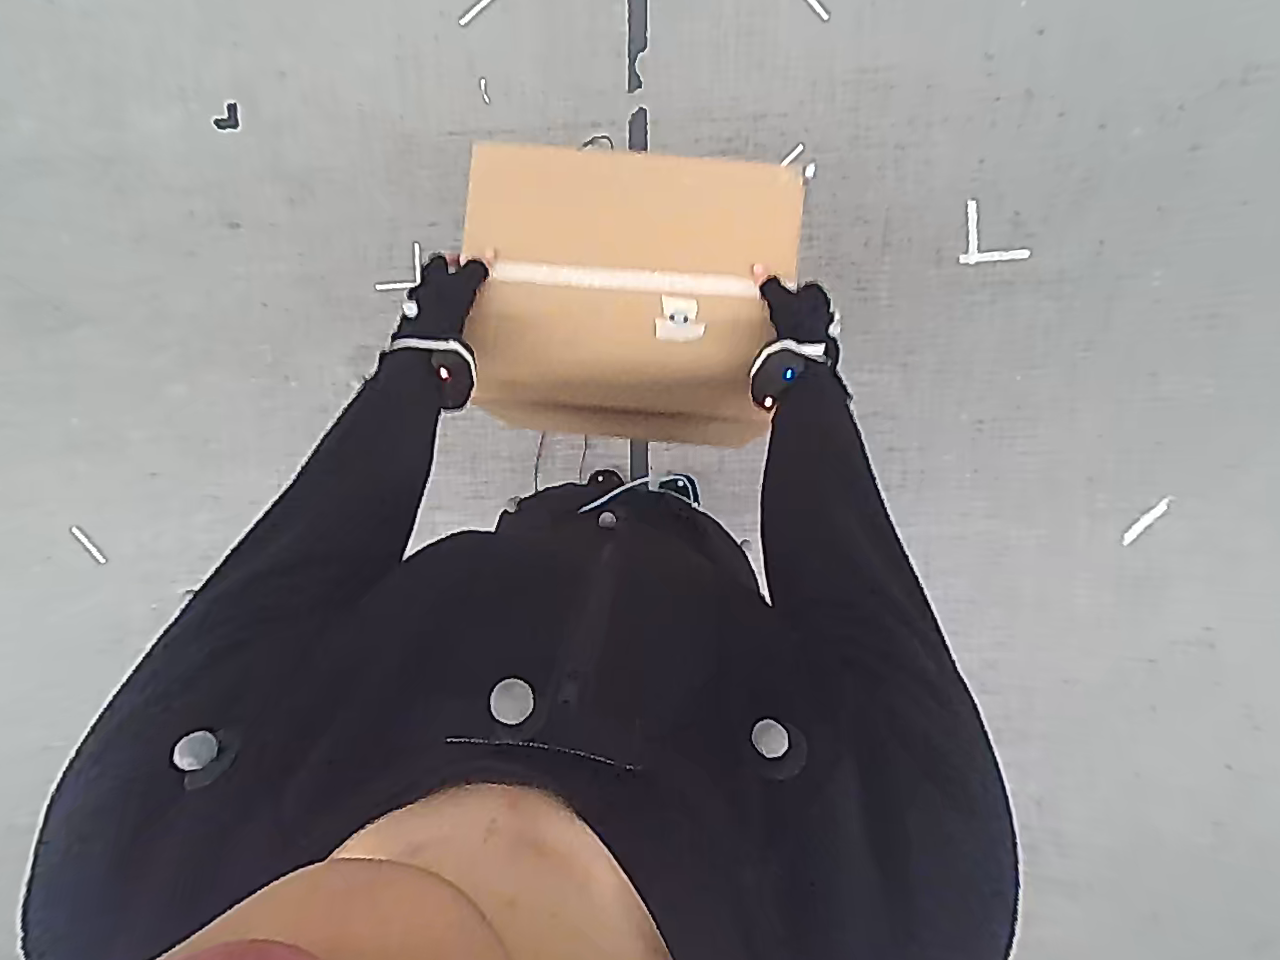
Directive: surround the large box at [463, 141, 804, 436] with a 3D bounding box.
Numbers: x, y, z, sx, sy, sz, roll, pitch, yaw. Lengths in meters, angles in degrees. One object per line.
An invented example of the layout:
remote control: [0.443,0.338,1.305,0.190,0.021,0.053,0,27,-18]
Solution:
large box: [-0.009,-0.246,0.804,0.408,0.320,0.320,5,89,0]
